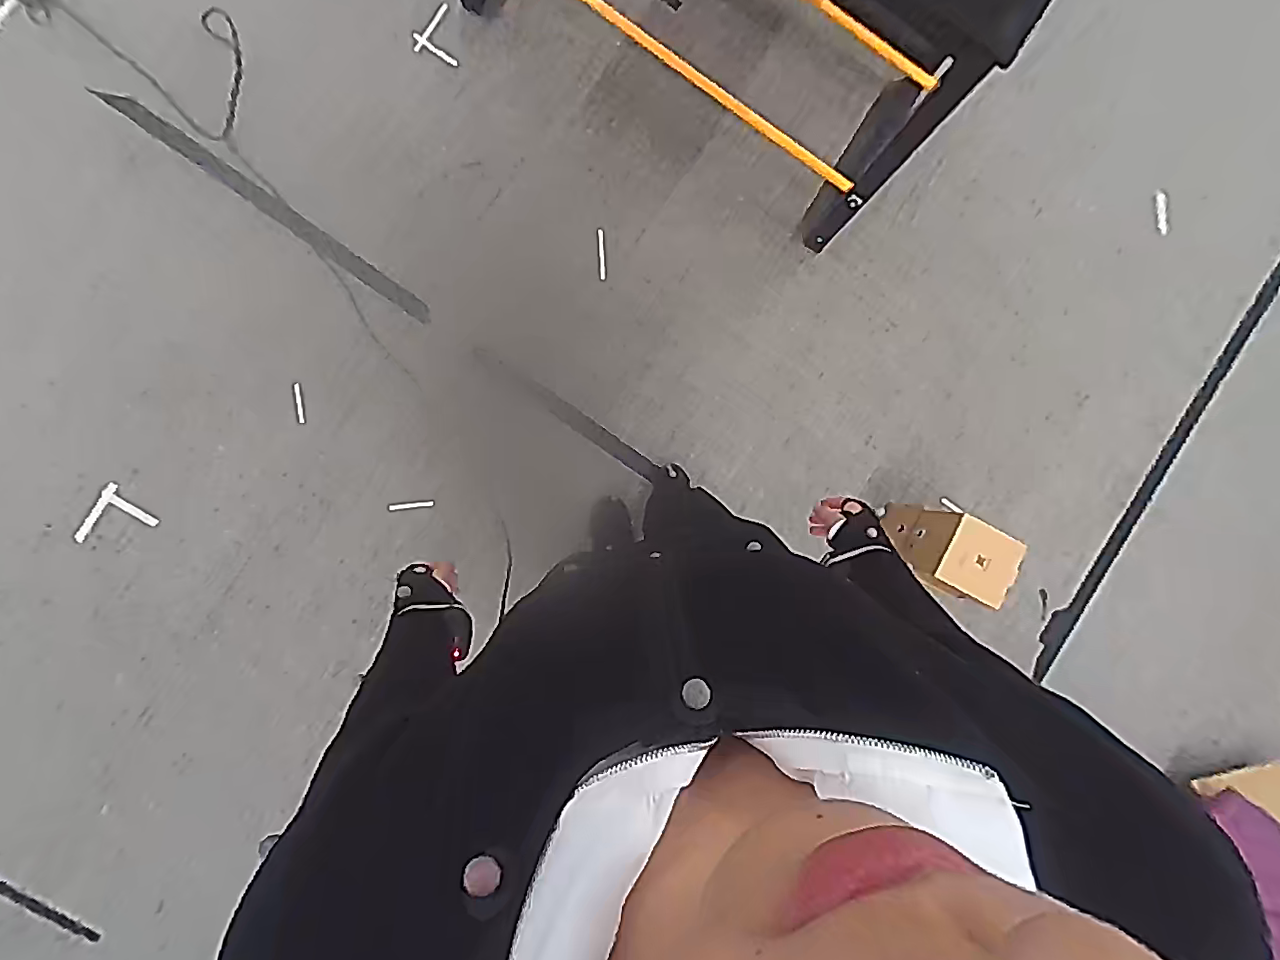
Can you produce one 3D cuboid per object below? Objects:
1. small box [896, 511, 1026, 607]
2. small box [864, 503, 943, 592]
[{"bbox_3d":[0.769,0.181,1.312,0.179,0.176,0.168,27,87,-2],"label":"small box"},{"bbox_3d":[0.748,0.175,1.473,0.168,0.176,0.179,31,89,-3],"label":"small box"}]
